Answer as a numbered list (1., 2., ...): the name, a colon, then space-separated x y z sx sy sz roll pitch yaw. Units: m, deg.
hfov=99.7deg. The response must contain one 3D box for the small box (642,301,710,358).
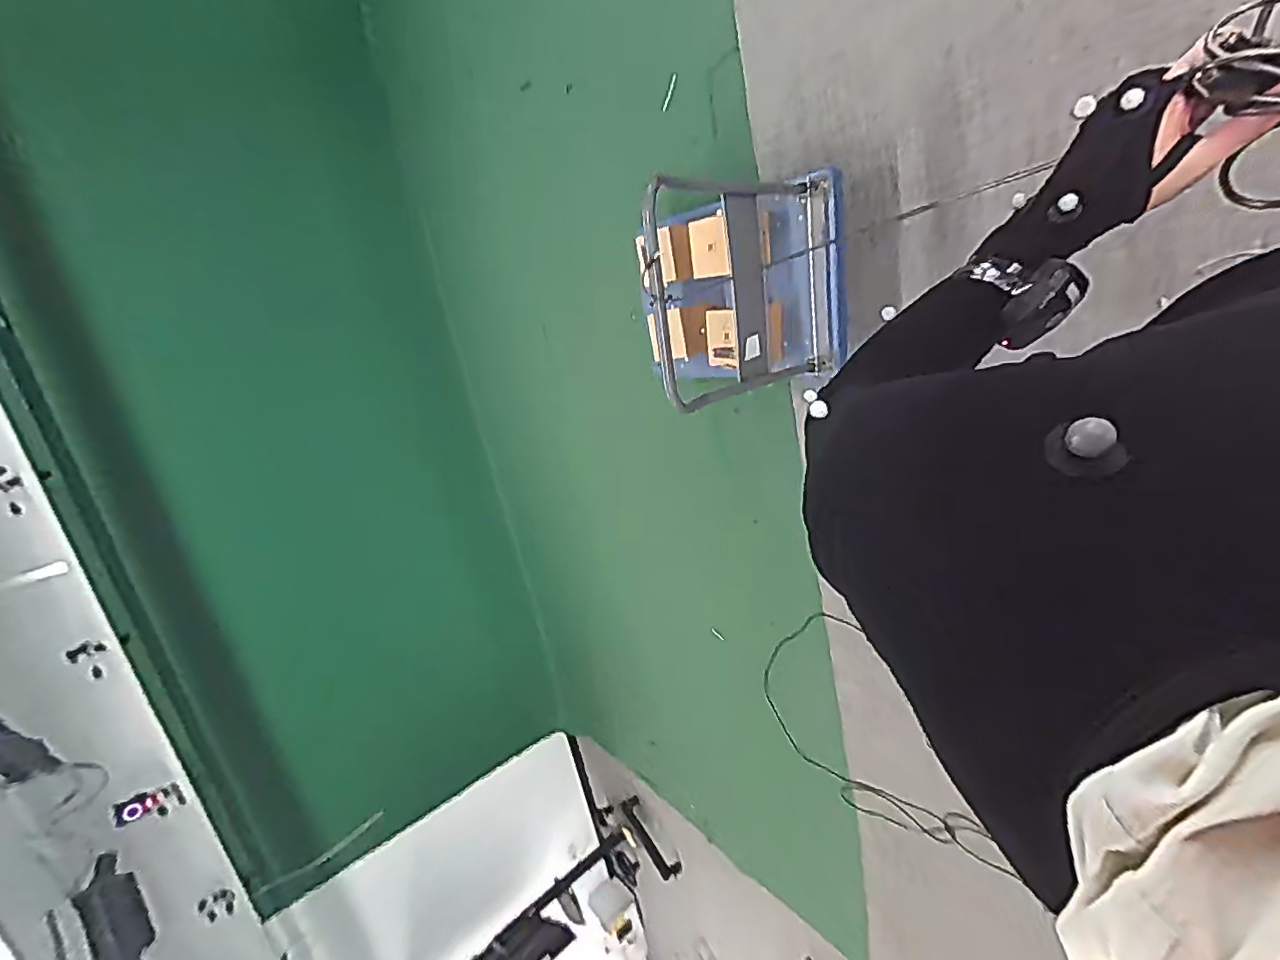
1. small box: 0.137 -0.538 1.934 0.179 0.176 0.168 9 115 51

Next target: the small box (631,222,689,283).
1. small box: 0.096 -0.780 1.857 0.179 0.176 0.168 11 118 49

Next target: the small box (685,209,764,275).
1. small box: 0.261 -0.731 1.666 0.179 0.176 0.168 15 120 48
